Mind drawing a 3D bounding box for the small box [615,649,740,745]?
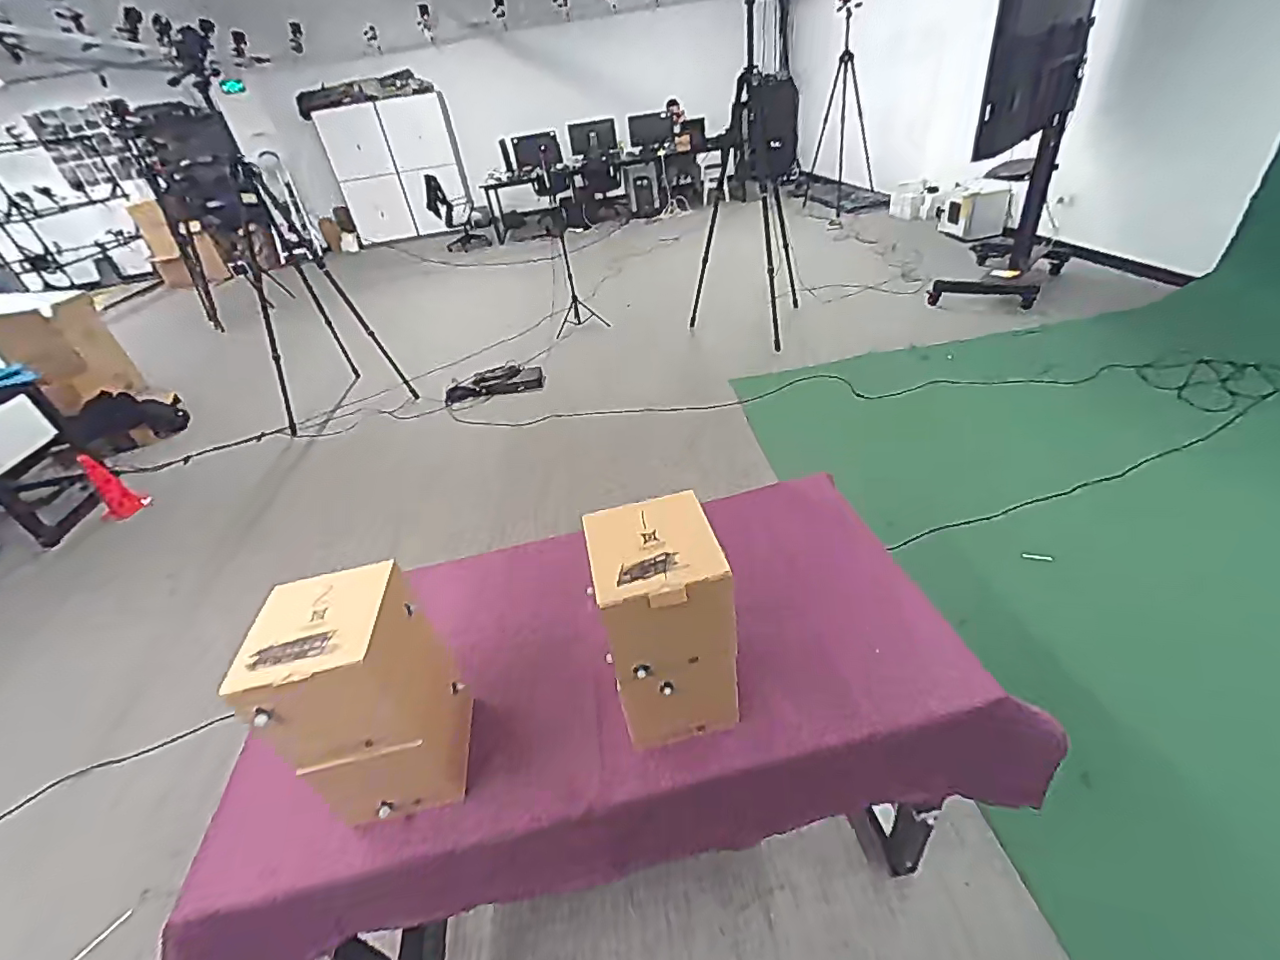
[{"bbox_3d":[0.050,0.275,0.845,0.168,0.176,0.179,-14,36,-3],"label":"small box"}]

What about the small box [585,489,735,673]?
[{"bbox_3d":[0.028,0.143,0.749,0.168,0.176,0.179,-13,36,-4],"label":"small box"}]

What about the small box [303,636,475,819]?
[{"bbox_3d":[-0.359,0.371,0.816,0.168,0.176,0.179,-13,37,-2],"label":"small box"}]
